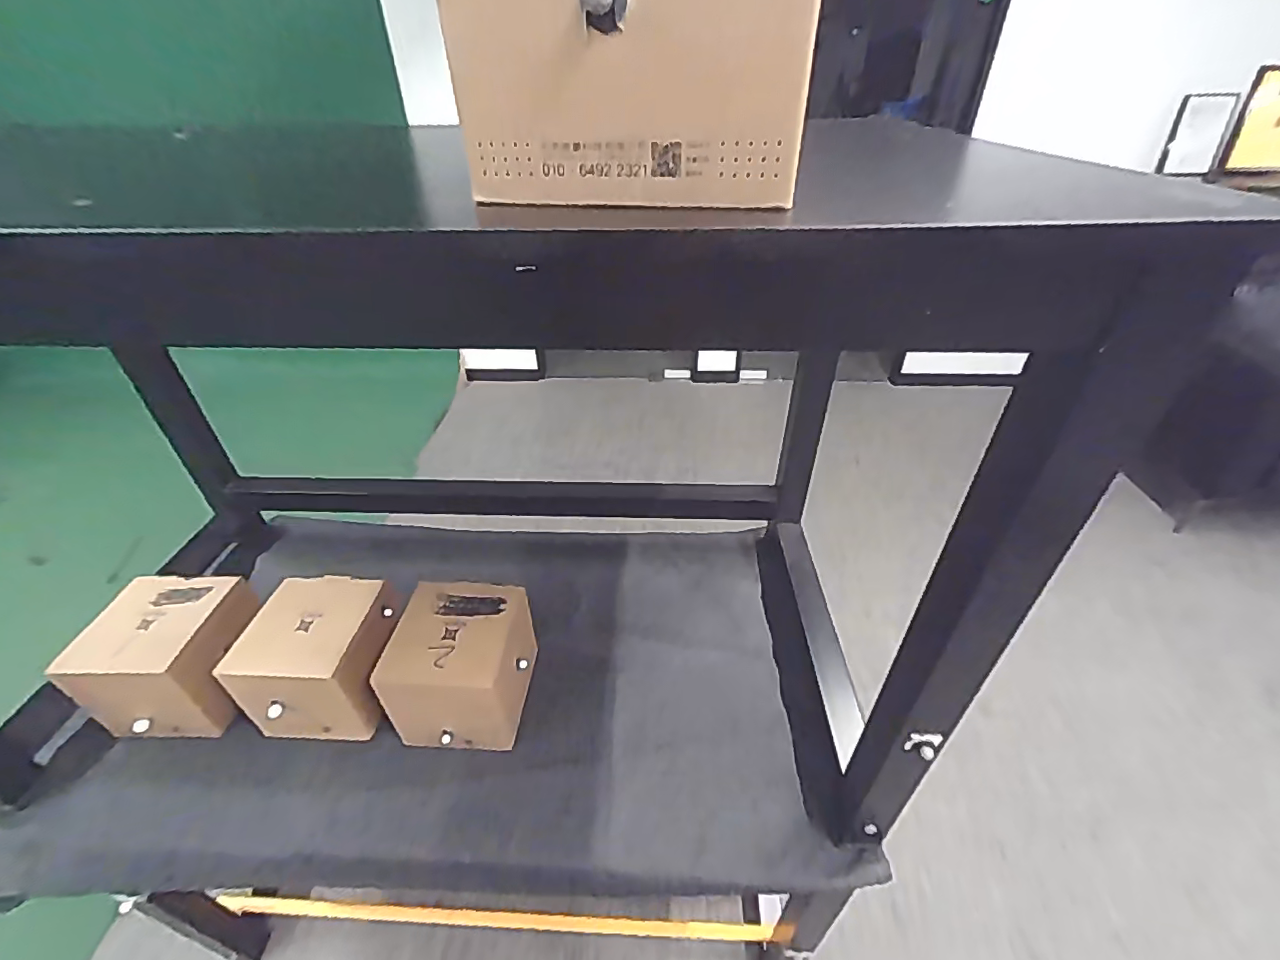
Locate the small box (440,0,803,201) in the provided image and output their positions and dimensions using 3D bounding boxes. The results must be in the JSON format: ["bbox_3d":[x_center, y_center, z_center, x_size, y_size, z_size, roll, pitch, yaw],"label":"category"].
[{"bbox_3d":[0.003,-0.257,0.295,0.168,0.176,0.179,6,37,10],"label":"small box"}]

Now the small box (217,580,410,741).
[{"bbox_3d":[-0.475,0.275,0.825,0.168,0.176,0.179,1,36,3],"label":"small box"}]

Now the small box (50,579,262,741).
[{"bbox_3d":[-0.702,0.272,0.829,0.168,0.176,0.179,-1,37,1],"label":"small box"}]
